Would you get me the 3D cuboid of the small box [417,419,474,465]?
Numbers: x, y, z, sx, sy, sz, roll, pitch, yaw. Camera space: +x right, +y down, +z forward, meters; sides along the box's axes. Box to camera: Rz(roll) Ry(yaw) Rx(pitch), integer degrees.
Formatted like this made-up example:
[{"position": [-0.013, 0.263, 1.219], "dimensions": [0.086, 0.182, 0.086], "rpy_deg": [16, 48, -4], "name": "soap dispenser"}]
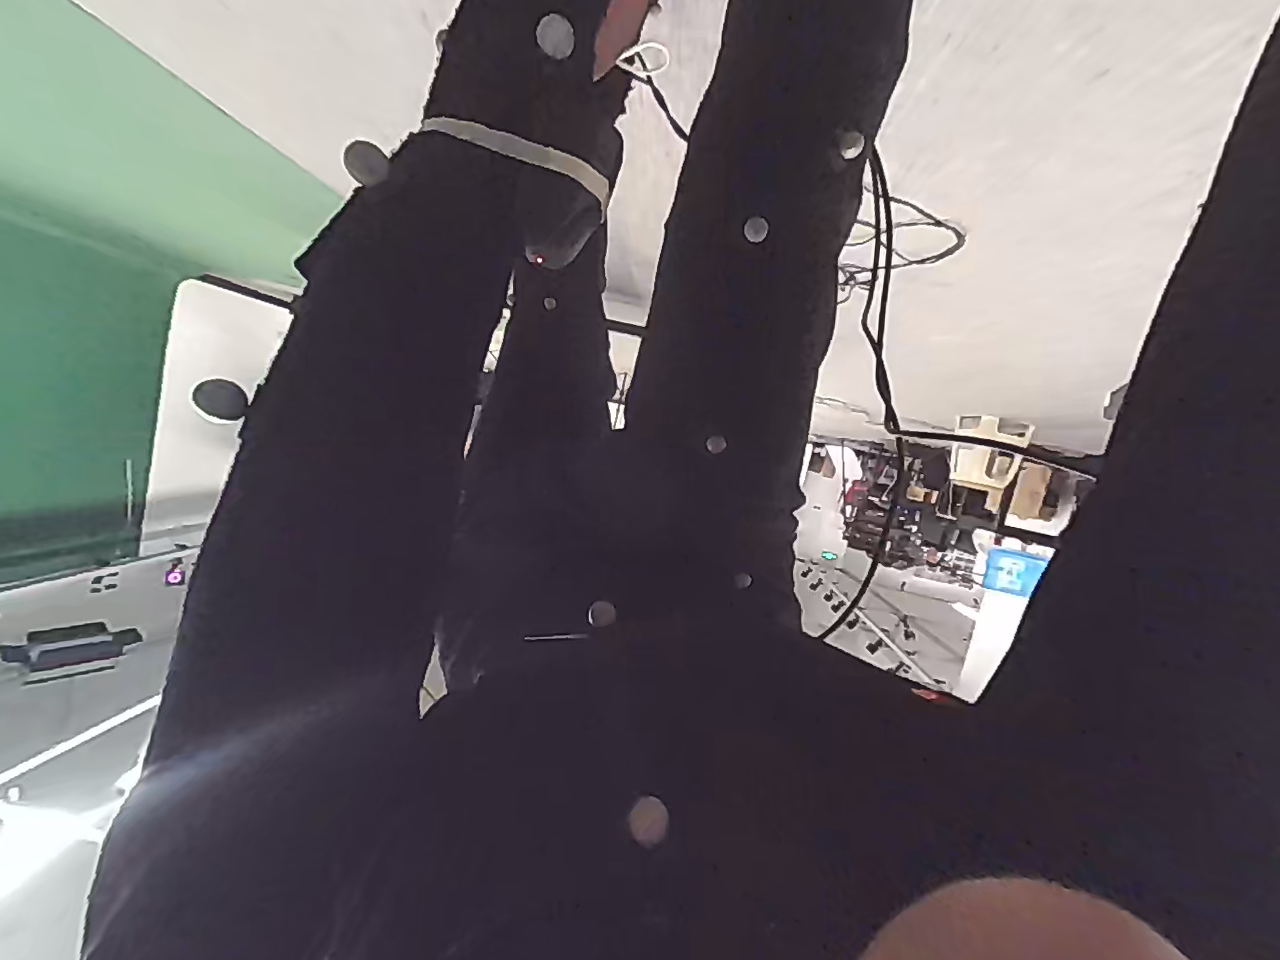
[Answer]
[{"position": [-0.842, -0.170, 2.345], "dimensions": [0.168, 0.176, 0.179], "rpy_deg": [14, -173, 4], "name": "small box"}]
